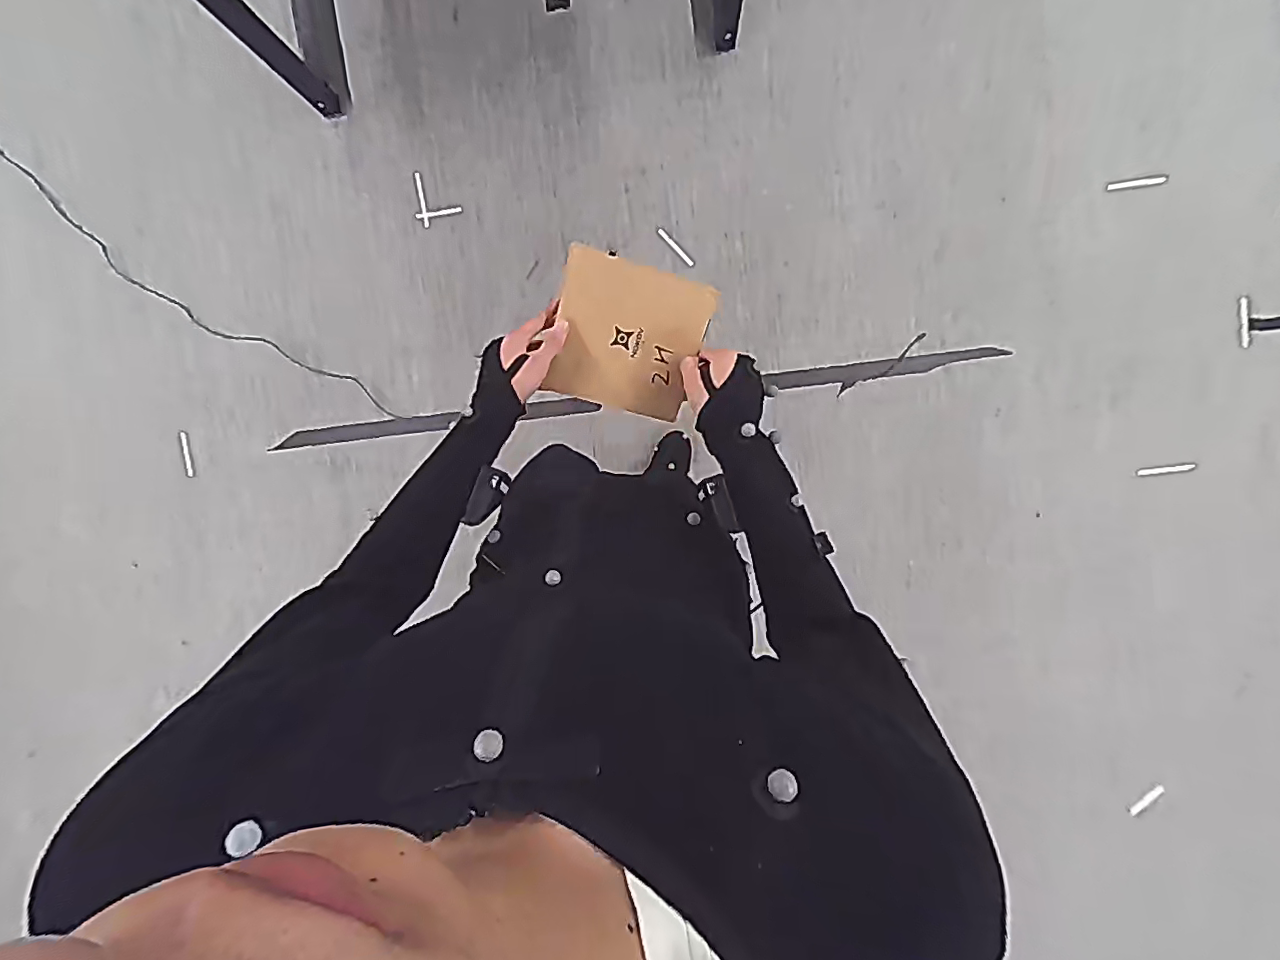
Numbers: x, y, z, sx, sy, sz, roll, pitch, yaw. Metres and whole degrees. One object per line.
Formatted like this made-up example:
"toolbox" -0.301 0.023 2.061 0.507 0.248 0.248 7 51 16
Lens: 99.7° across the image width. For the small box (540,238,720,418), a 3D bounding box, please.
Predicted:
"small box" -0.022 -0.200 0.699 0.179 0.176 0.168 13 112 -13
